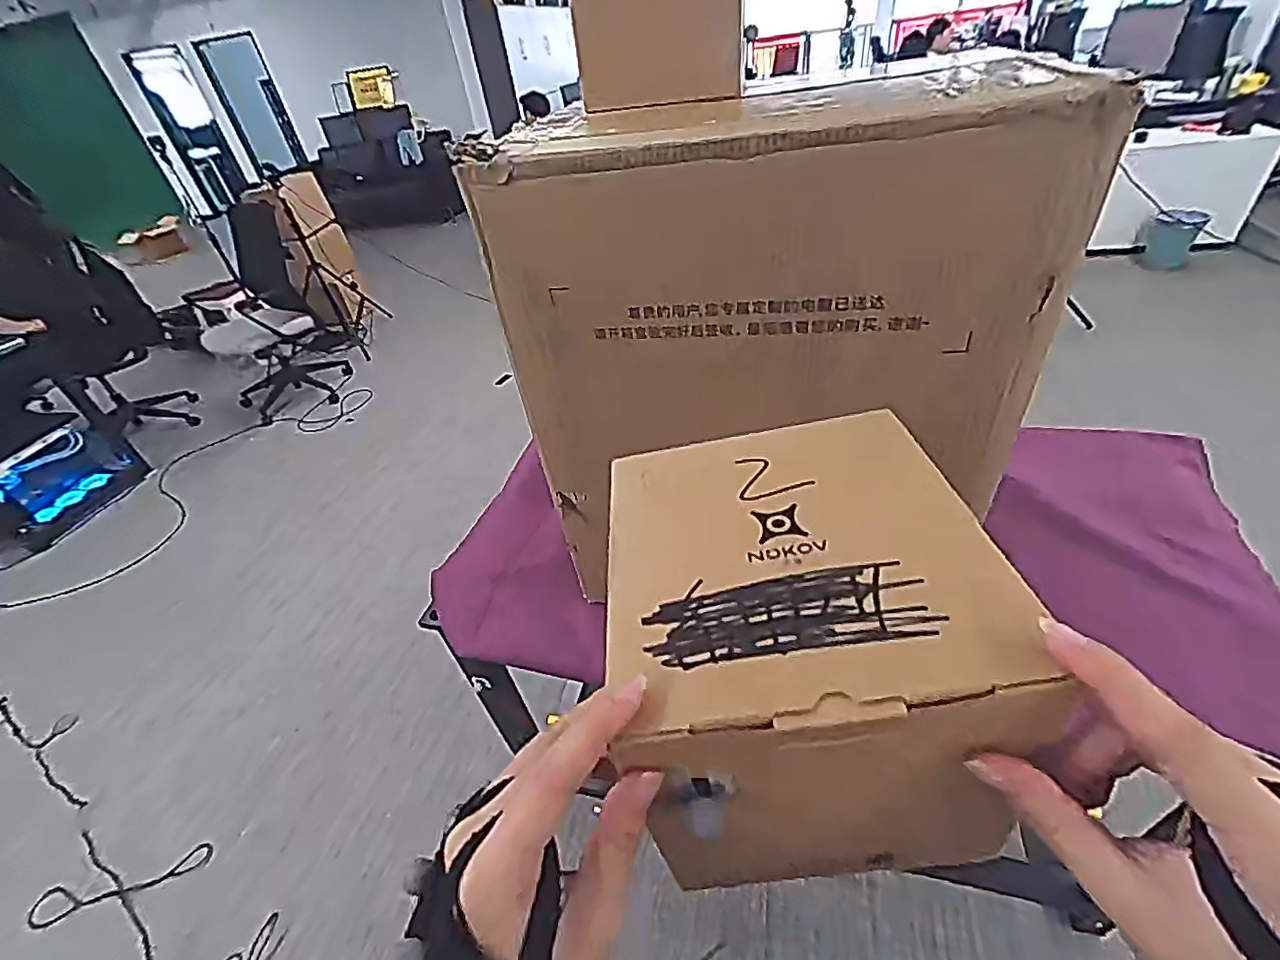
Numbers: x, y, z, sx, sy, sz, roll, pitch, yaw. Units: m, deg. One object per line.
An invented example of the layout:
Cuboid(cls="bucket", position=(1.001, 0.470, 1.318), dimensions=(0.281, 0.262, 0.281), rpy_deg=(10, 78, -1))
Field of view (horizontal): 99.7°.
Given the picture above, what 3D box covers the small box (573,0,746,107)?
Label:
Cuboid(cls="small box", position=(0.026, -0.525, 0.596), dimensions=(0.179, 0.176, 0.168), rpy_deg=(2, 41, 11))
